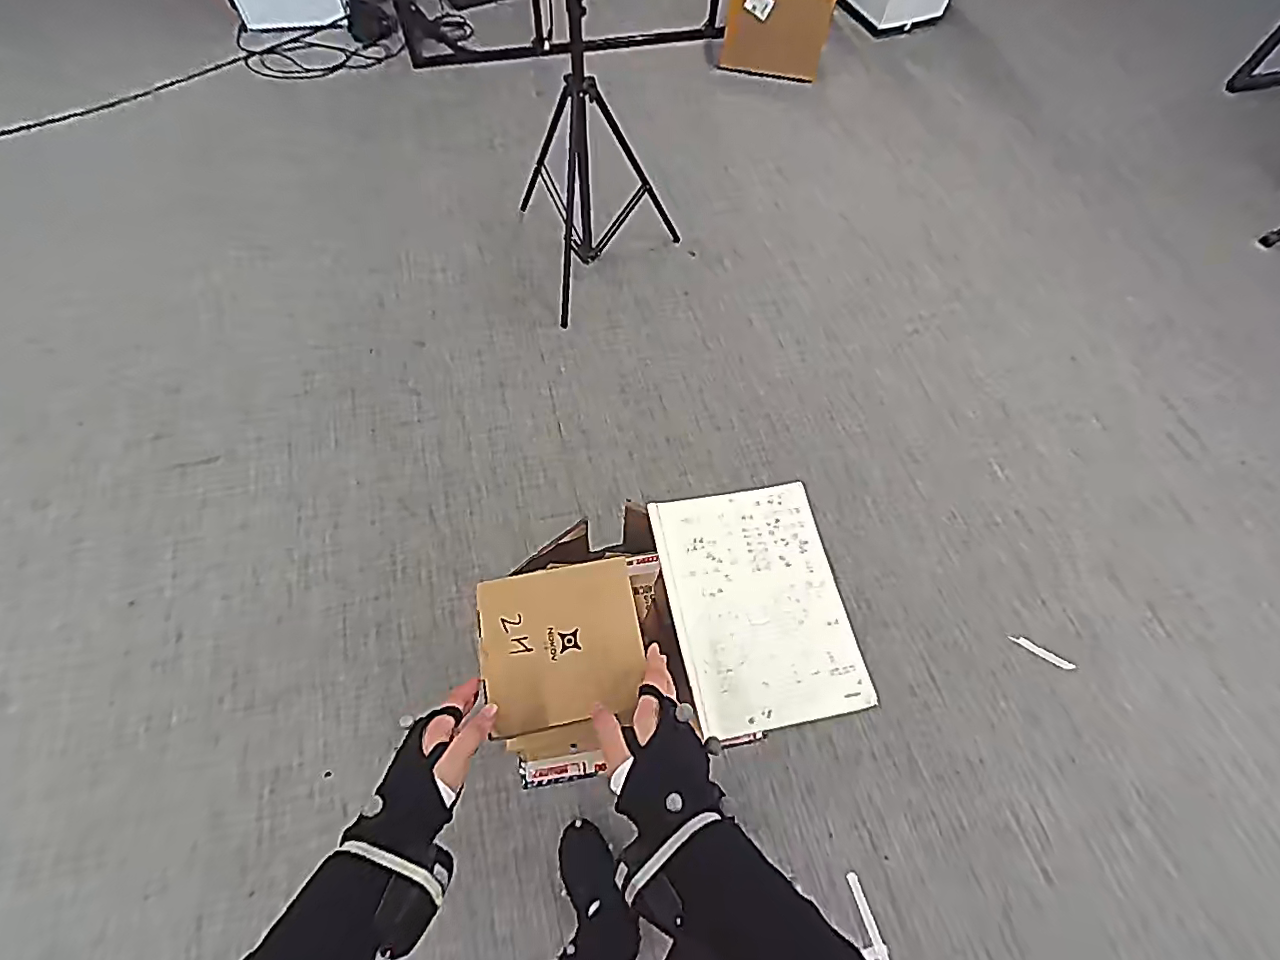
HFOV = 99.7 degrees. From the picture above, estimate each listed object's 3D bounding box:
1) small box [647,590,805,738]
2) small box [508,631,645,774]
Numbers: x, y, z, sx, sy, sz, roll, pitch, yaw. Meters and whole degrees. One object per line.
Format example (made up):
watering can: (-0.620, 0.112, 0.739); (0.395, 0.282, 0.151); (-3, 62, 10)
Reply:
small box: (0.119, 0.285, 0.833); (0.179, 0.176, 0.168); (-13, 66, -10)
small box: (-0.092, 0.327, 0.801); (0.179, 0.176, 0.168); (-6, 66, -4)
